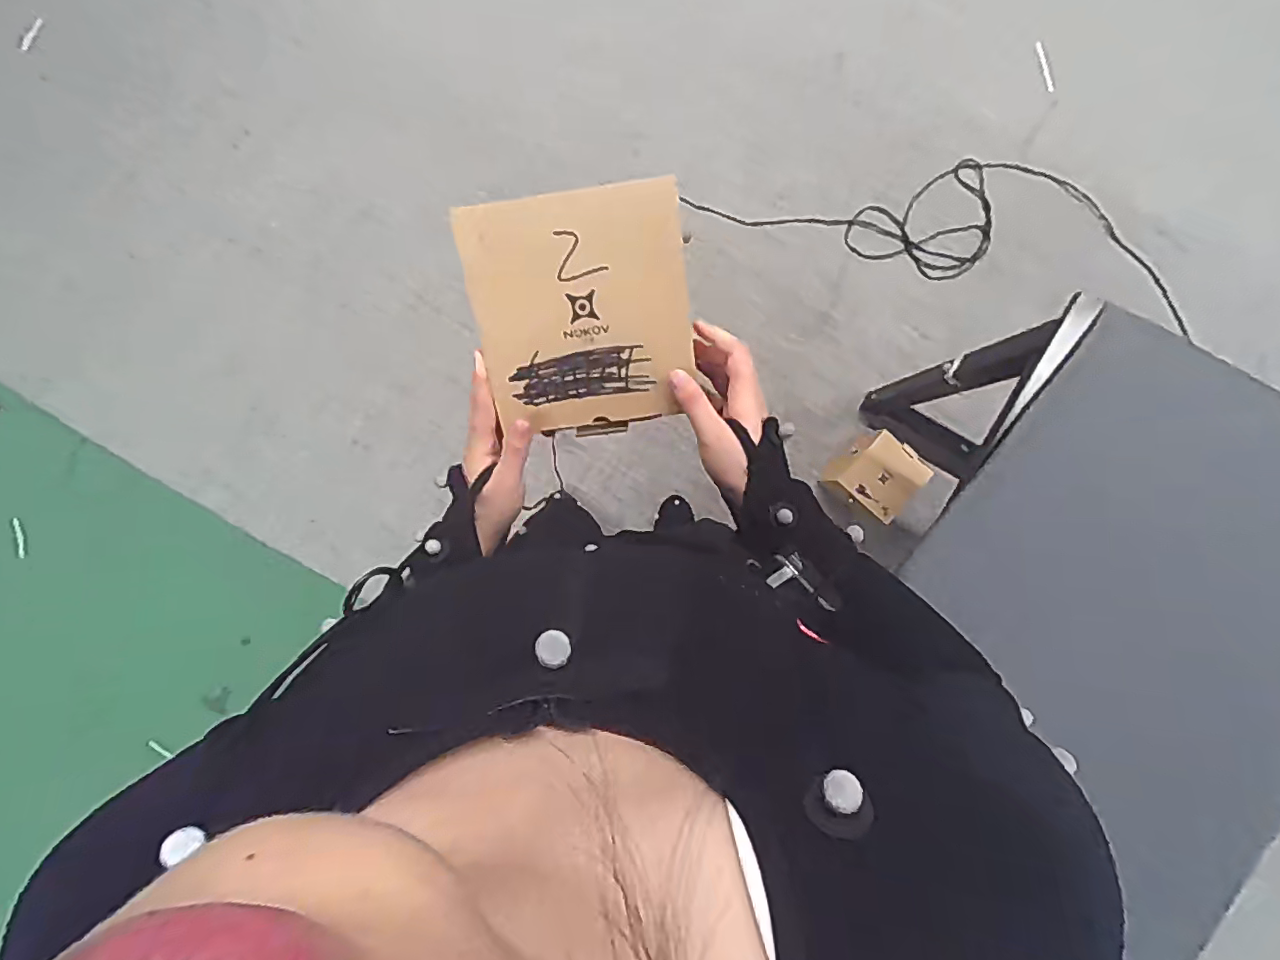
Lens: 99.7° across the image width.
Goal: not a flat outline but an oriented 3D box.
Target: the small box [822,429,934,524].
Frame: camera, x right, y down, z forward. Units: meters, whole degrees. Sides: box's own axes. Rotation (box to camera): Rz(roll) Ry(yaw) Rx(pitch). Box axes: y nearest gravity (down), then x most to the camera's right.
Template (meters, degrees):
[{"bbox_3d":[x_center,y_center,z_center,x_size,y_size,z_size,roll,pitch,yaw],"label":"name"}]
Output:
[{"bbox_3d":[0.603,-0.007,1.396,0.168,0.176,0.179,43,90,1],"label":"small box"}]
